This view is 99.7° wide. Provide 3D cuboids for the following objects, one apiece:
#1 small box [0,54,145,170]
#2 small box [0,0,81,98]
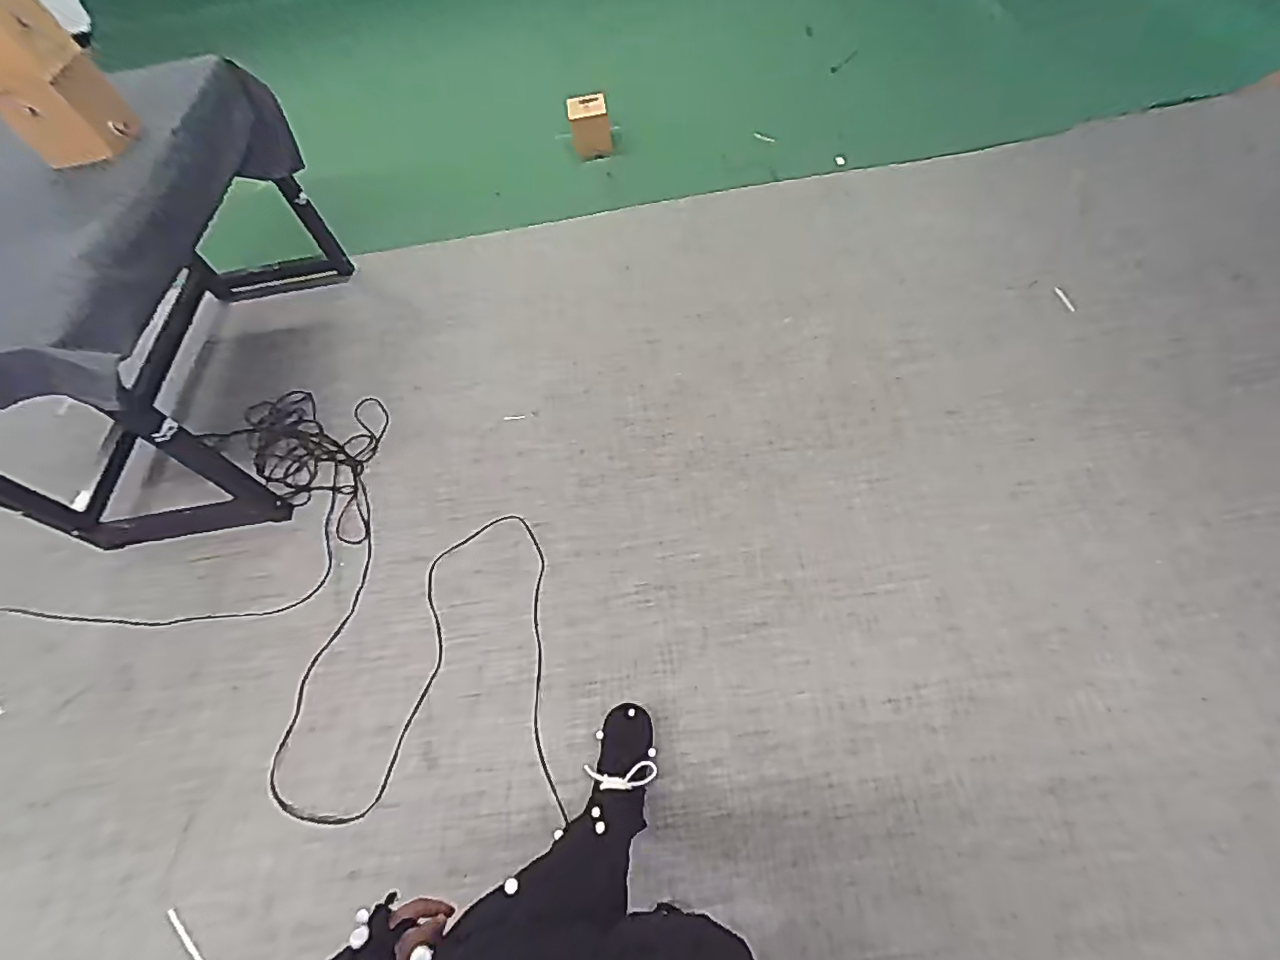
[{"bbox_3d":[-1.367,-0.876,1.298,0.179,0.176,0.168,-8,60,2],"label":"small box"},{"bbox_3d":[-1.378,-0.955,1.156,0.179,0.176,0.168,-10,60,3],"label":"small box"}]
